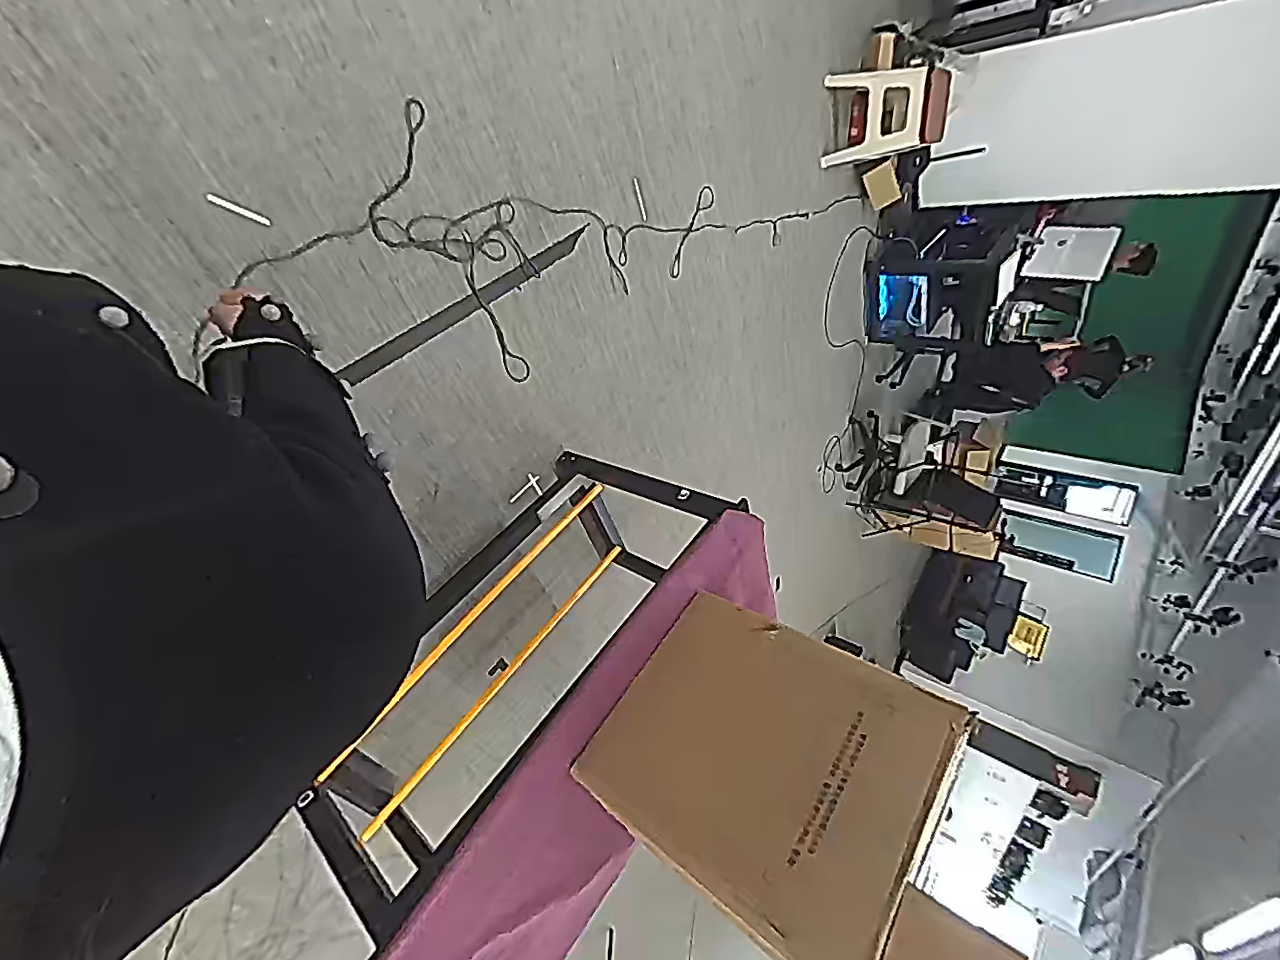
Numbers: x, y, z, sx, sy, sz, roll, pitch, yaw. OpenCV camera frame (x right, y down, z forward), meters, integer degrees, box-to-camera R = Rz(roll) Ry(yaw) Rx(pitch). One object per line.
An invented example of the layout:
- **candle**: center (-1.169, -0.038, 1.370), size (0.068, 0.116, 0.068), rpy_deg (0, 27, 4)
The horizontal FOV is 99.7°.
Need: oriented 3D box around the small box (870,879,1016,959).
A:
- **small box**: center (0.460, 0.779, 0.847), size (0.179, 0.176, 0.168), rpy_deg (-48, 135, -30)
